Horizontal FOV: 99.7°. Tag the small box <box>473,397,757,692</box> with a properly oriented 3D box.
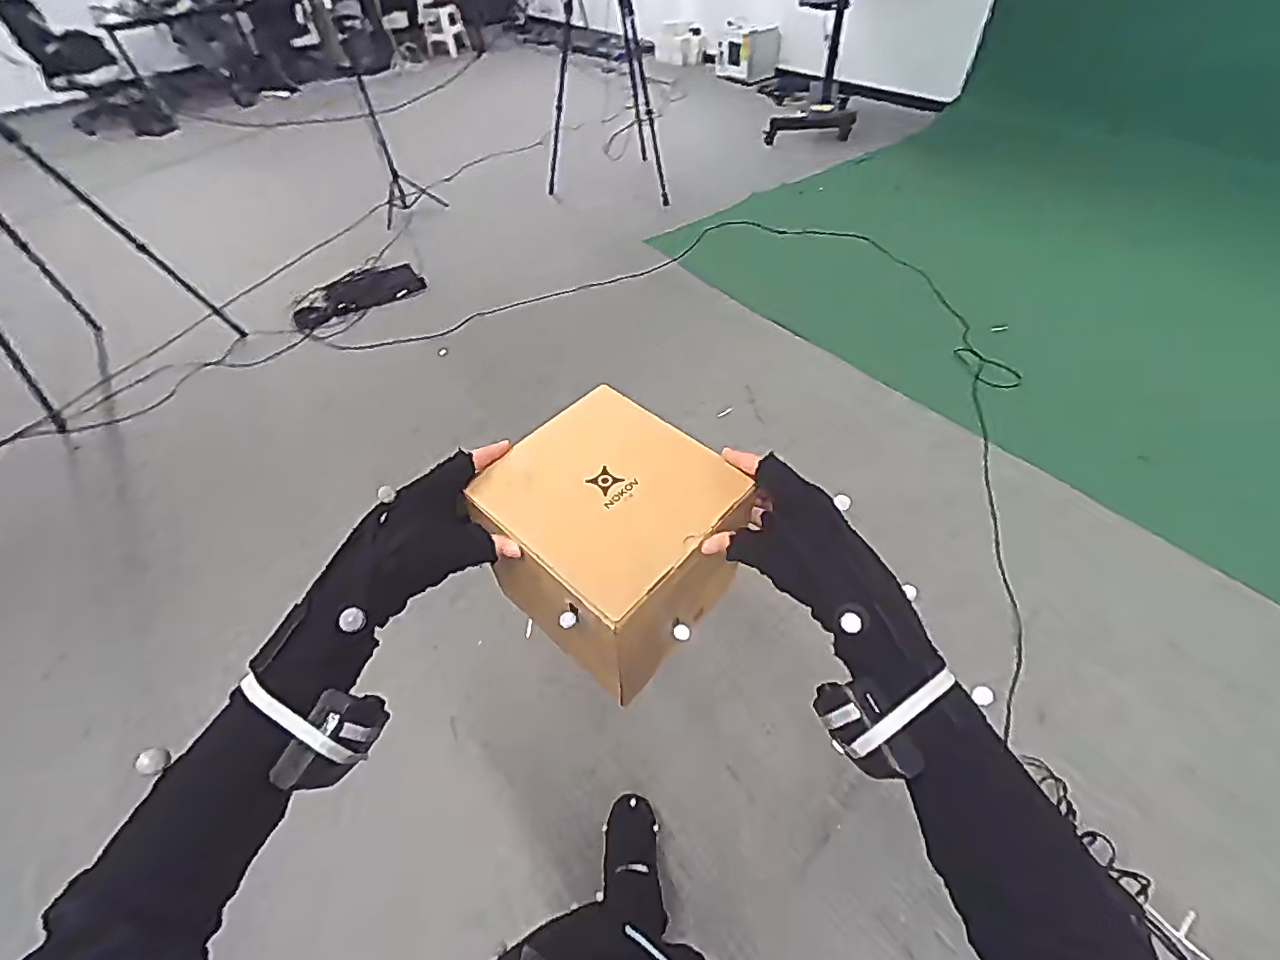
[{"bbox_3d":[-0.021,0.060,0.499,0.179,0.176,0.168,35,58,26],"label":"small box"}]
